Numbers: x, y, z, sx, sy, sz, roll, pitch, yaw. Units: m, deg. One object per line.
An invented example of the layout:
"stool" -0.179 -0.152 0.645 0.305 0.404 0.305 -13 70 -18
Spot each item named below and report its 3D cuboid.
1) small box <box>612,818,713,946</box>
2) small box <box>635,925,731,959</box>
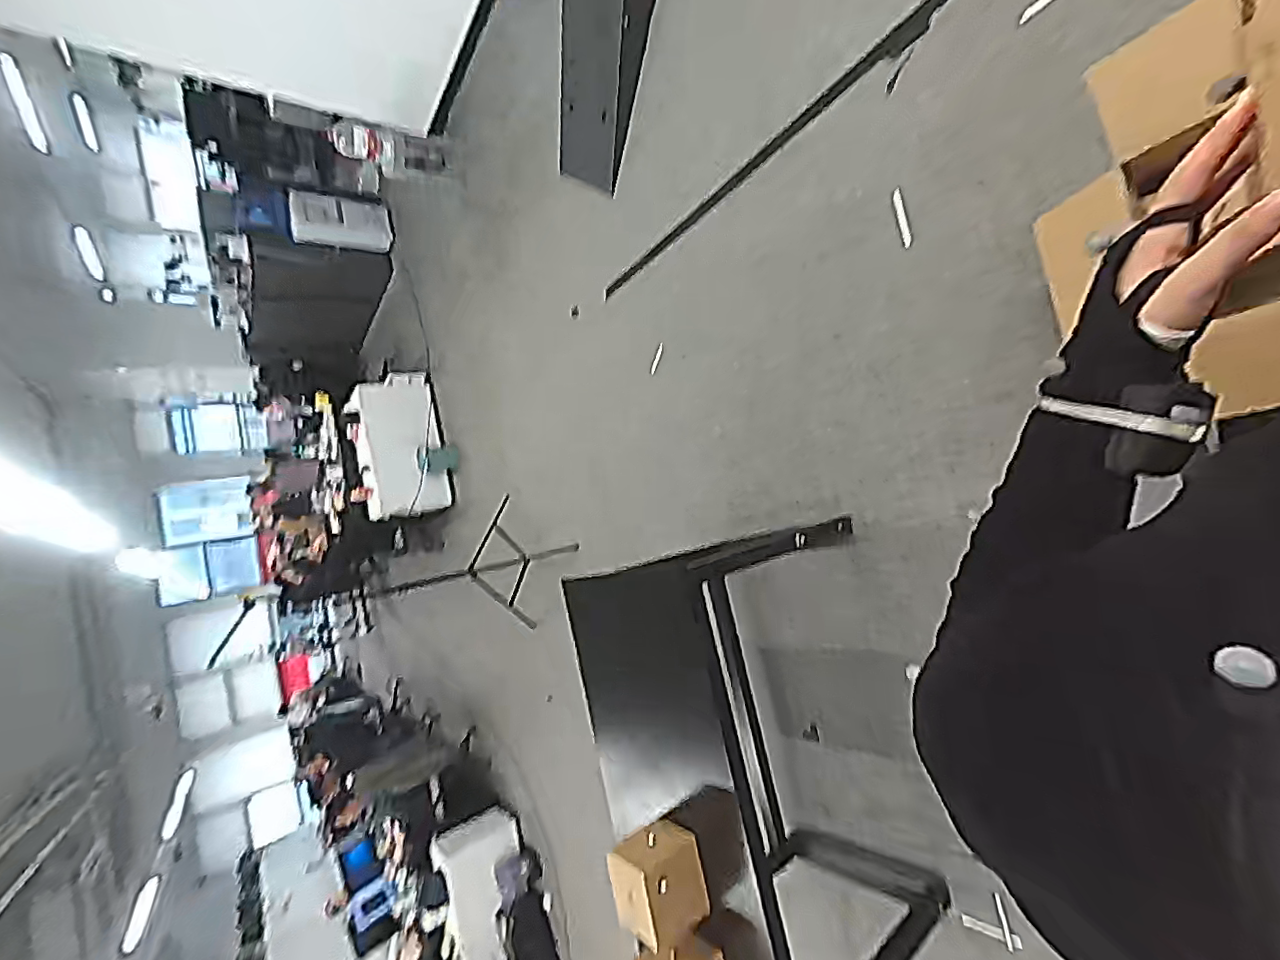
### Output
"small box" 0.056 0.985 1.347 0.168 0.176 0.179 -21 81 53
"small box" 0.118 1.243 1.322 0.179 0.176 0.168 -23 79 51
